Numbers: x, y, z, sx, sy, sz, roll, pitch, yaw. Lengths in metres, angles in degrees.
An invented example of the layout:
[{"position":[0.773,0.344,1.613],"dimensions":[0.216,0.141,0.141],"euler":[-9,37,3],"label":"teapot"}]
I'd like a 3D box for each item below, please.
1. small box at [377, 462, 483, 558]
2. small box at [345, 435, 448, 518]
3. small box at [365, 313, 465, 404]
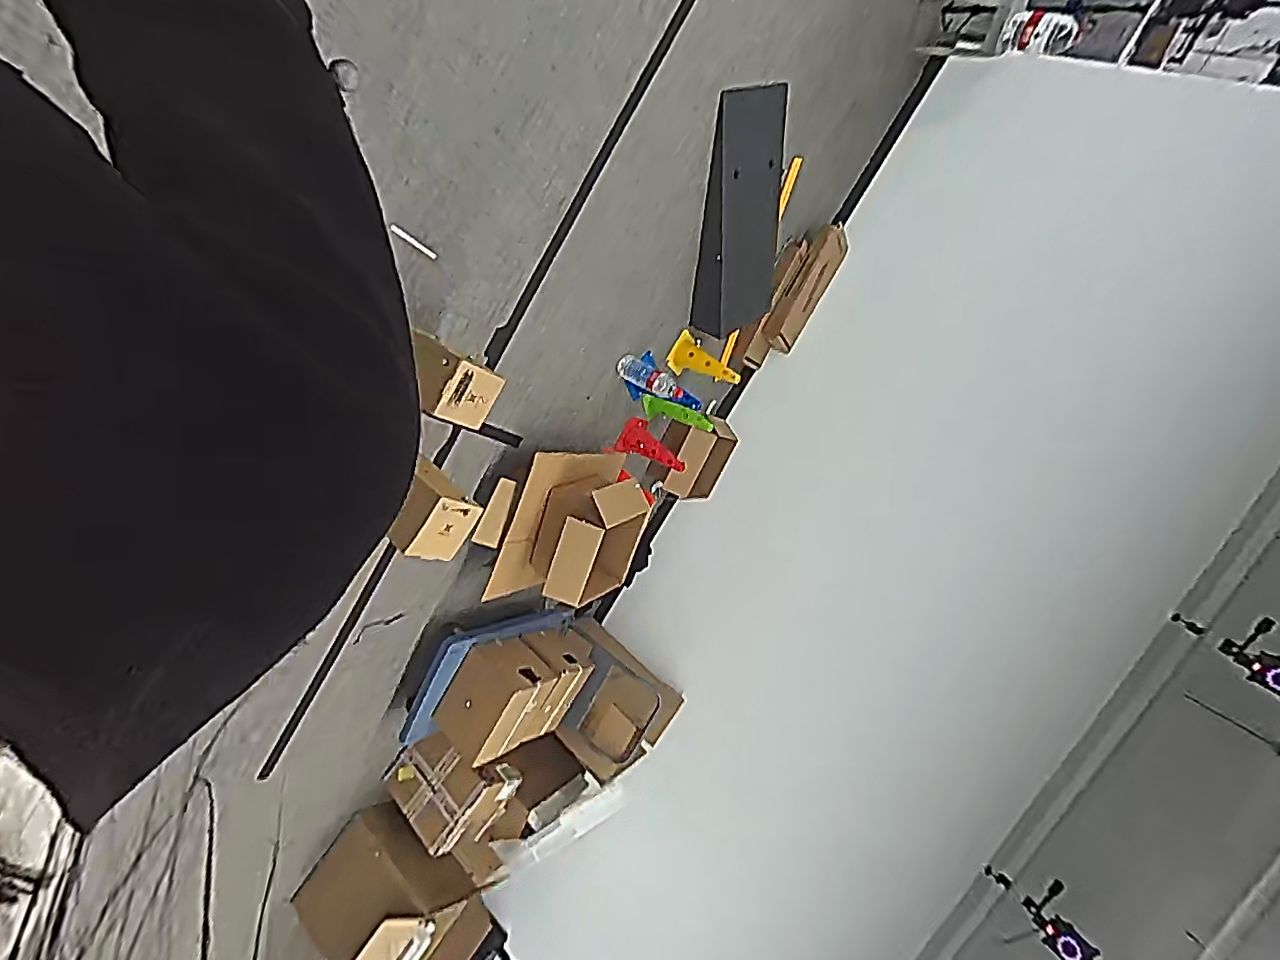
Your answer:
[{"position":[-0.563,0.081,1.437],"dimensions":[0.179,0.176,0.168],"euler":[-55,154,2],"label":"small box"},{"position":[-0.683,-0.002,1.512],"dimensions":[0.179,0.176,0.168],"euler":[-57,153,4],"label":"small box"},{"position":[-0.647,-0.349,1.550],"dimensions":[0.179,0.176,0.168],"euler":[-58,154,5],"label":"small box"}]
